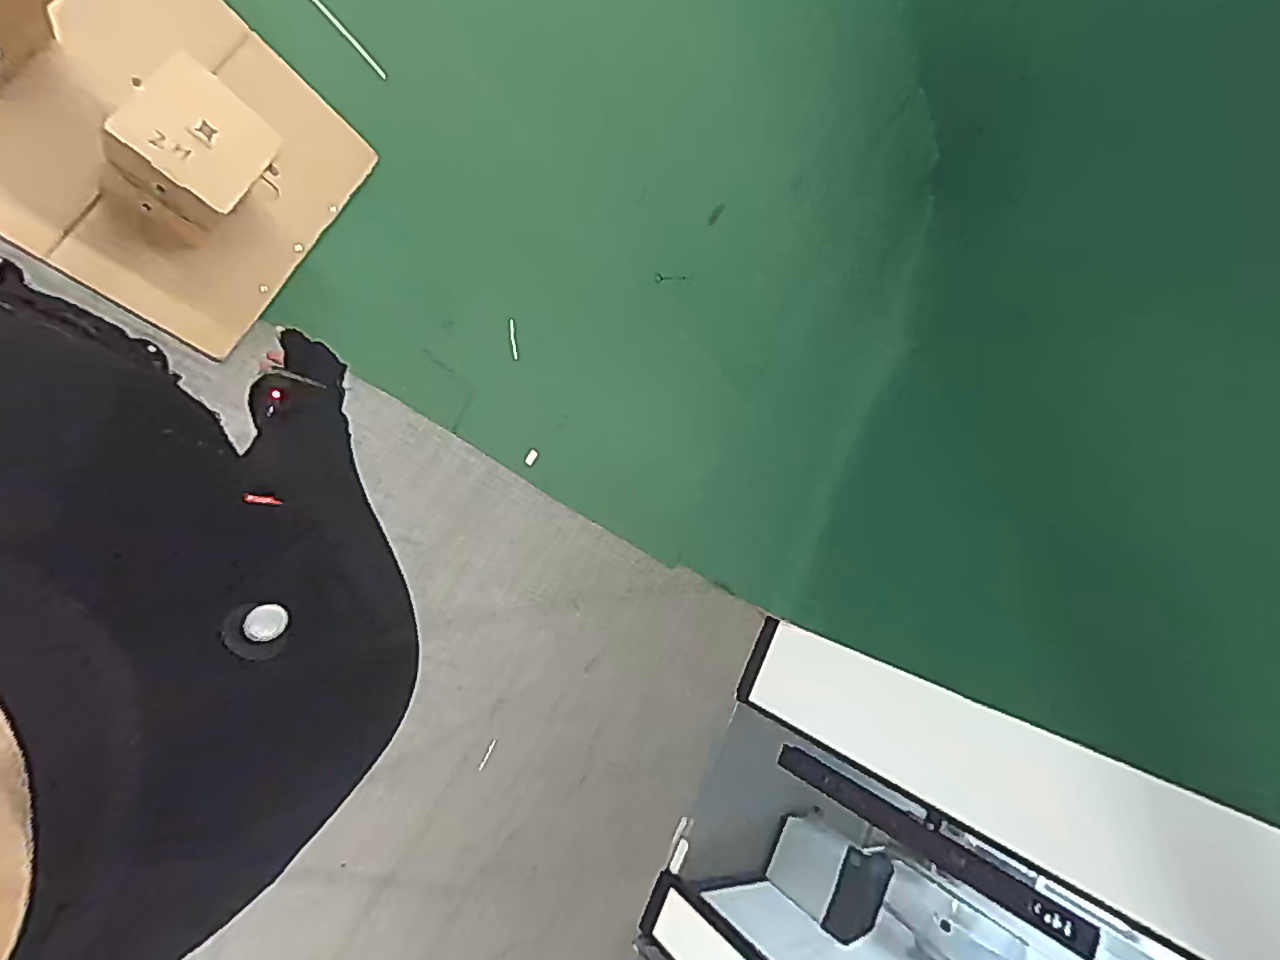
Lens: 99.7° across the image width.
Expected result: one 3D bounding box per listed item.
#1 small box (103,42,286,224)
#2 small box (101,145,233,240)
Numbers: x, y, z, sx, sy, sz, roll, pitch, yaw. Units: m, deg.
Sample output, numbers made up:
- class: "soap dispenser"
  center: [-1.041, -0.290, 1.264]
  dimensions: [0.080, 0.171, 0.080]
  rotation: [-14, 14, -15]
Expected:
- class: "small box"
  center: [-0.735, -0.558, 0.895]
  dimensions: [0.168, 0.176, 0.179]
  rotation: [40, 73, -42]
- class: "small box"
  center: [-0.854, -0.579, 1.009]
  dimensions: [0.168, 0.176, 0.179]
  rotation: [37, 75, -43]
